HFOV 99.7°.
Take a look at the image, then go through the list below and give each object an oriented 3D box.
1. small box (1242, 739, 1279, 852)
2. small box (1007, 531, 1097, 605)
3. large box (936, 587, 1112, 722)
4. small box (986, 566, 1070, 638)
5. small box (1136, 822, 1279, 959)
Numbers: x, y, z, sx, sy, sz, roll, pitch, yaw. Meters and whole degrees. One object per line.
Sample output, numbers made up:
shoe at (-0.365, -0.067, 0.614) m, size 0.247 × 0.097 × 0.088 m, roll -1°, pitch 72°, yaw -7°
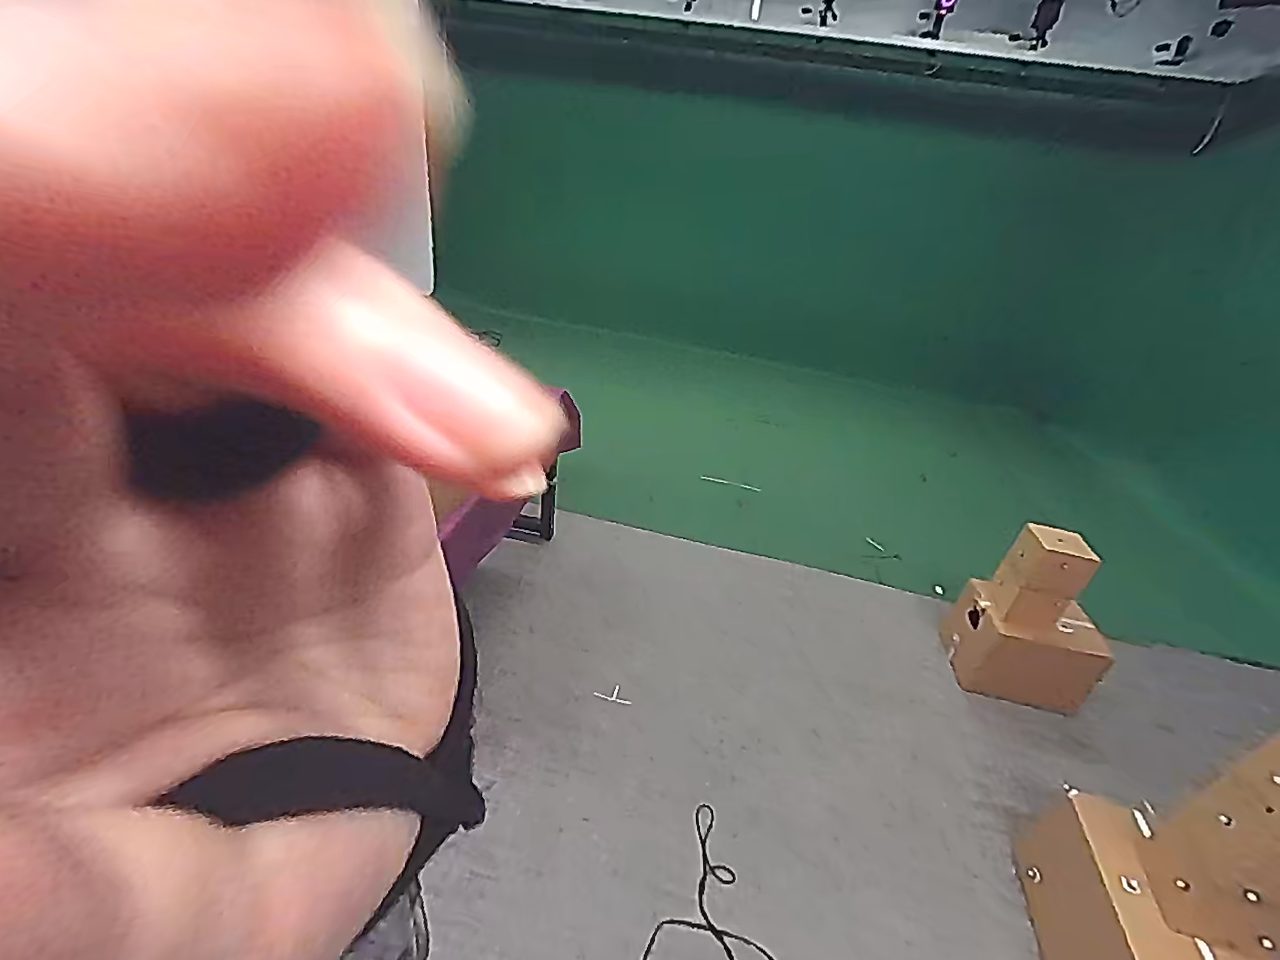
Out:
small box at (1.278, 0.609, 0.984) m, size 0.179 × 0.176 × 0.168 m, roll 19°, pitch 32°, yaw 14°
small box at (1.412, 0.306, 1.872) m, size 0.179 × 0.176 × 0.168 m, roll 14°, pitch 31°, yaw 7°
large box at (1.446, 0.667, 2.082) m, size 0.408 × 0.320 × 0.320 m, roll 13°, pitch 30°, yaw 5°
small box at (1.393, 0.445, 1.961) m, size 0.179 × 0.176 × 0.168 m, roll 14°, pitch 30°, yaw 7°
small box at (1.225, 0.888, 1.150) m, size 0.168 × 0.176 × 0.179 m, roll 19°, pitch 31°, yaw 13°
